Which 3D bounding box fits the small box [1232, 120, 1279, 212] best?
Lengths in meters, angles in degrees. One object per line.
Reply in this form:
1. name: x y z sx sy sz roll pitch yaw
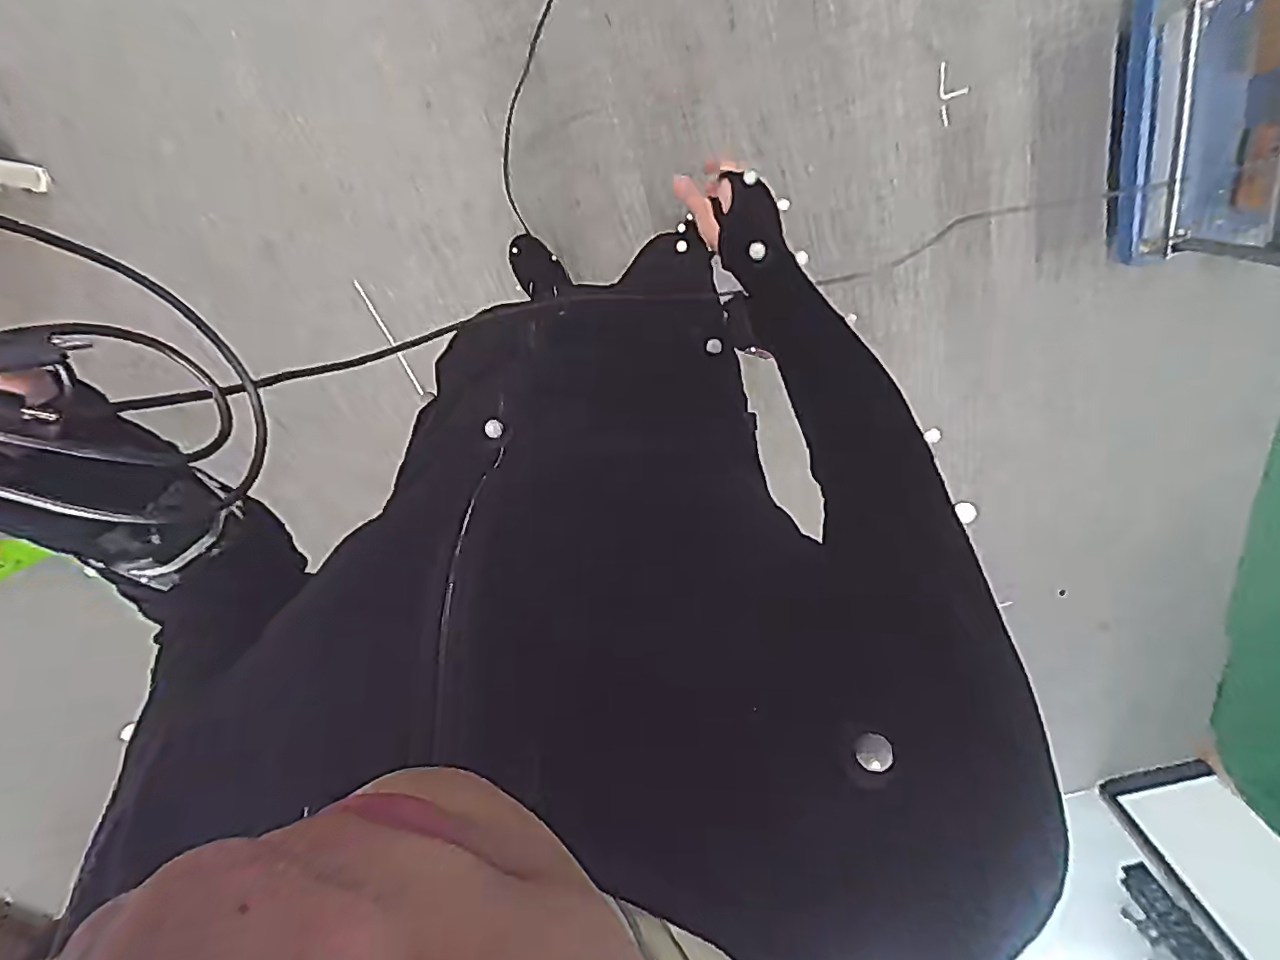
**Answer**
1. small box: 1.434 -0.681 1.137 0.179 0.176 0.168 -16 119 8
